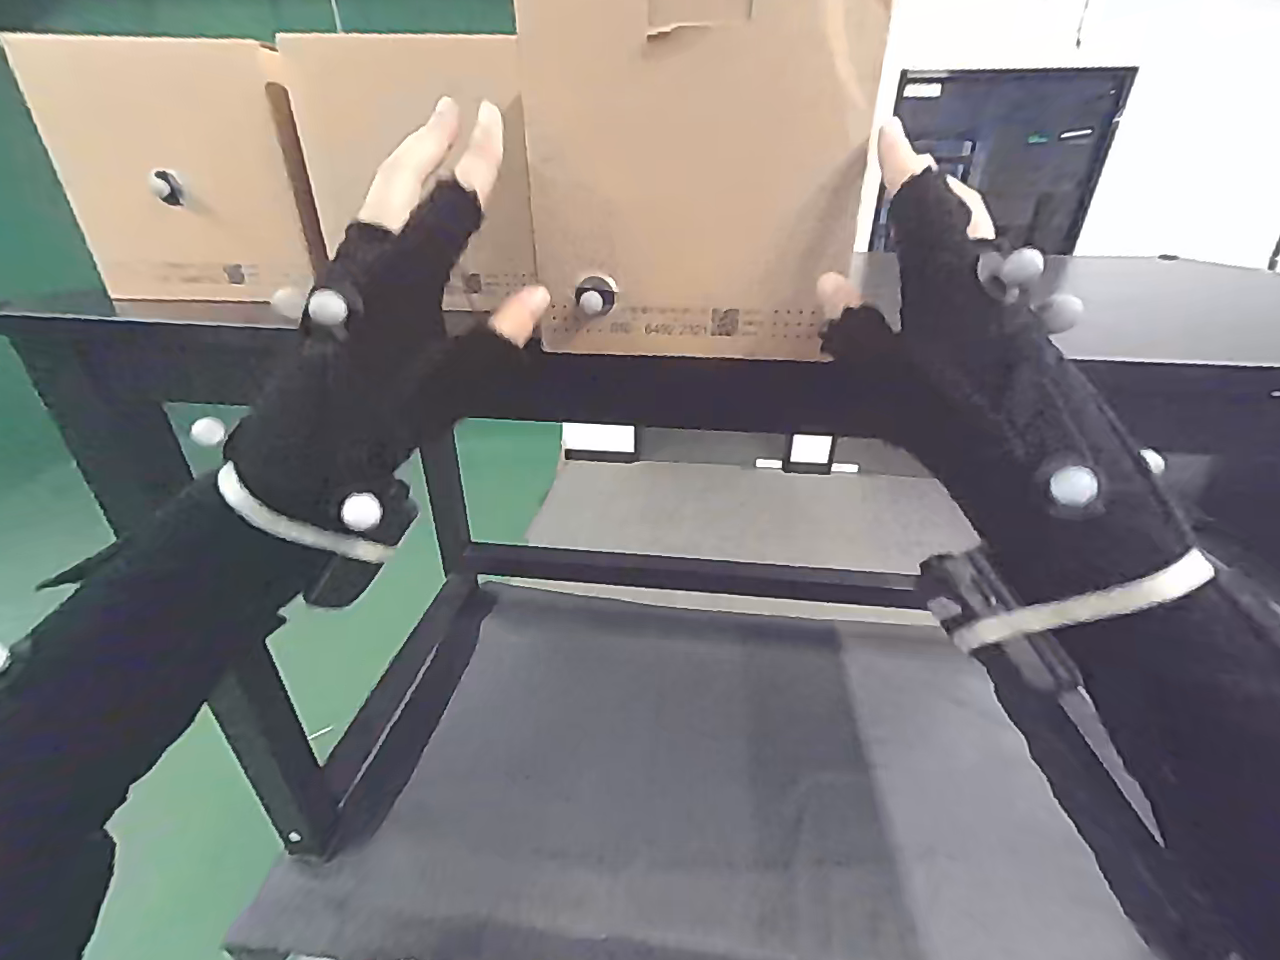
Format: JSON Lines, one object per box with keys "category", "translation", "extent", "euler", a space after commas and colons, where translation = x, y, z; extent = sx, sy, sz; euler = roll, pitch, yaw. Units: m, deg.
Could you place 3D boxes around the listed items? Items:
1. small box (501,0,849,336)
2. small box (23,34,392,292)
{"category": "small box", "translation": [0.026, -0.195, 0.351], "extent": [0.168, 0.176, 0.179], "euler": [4, 27, 6]}
{"category": "small box", "translation": [-0.341, -0.266, 0.478], "extent": [0.168, 0.176, 0.179], "euler": [2, 27, -1]}
